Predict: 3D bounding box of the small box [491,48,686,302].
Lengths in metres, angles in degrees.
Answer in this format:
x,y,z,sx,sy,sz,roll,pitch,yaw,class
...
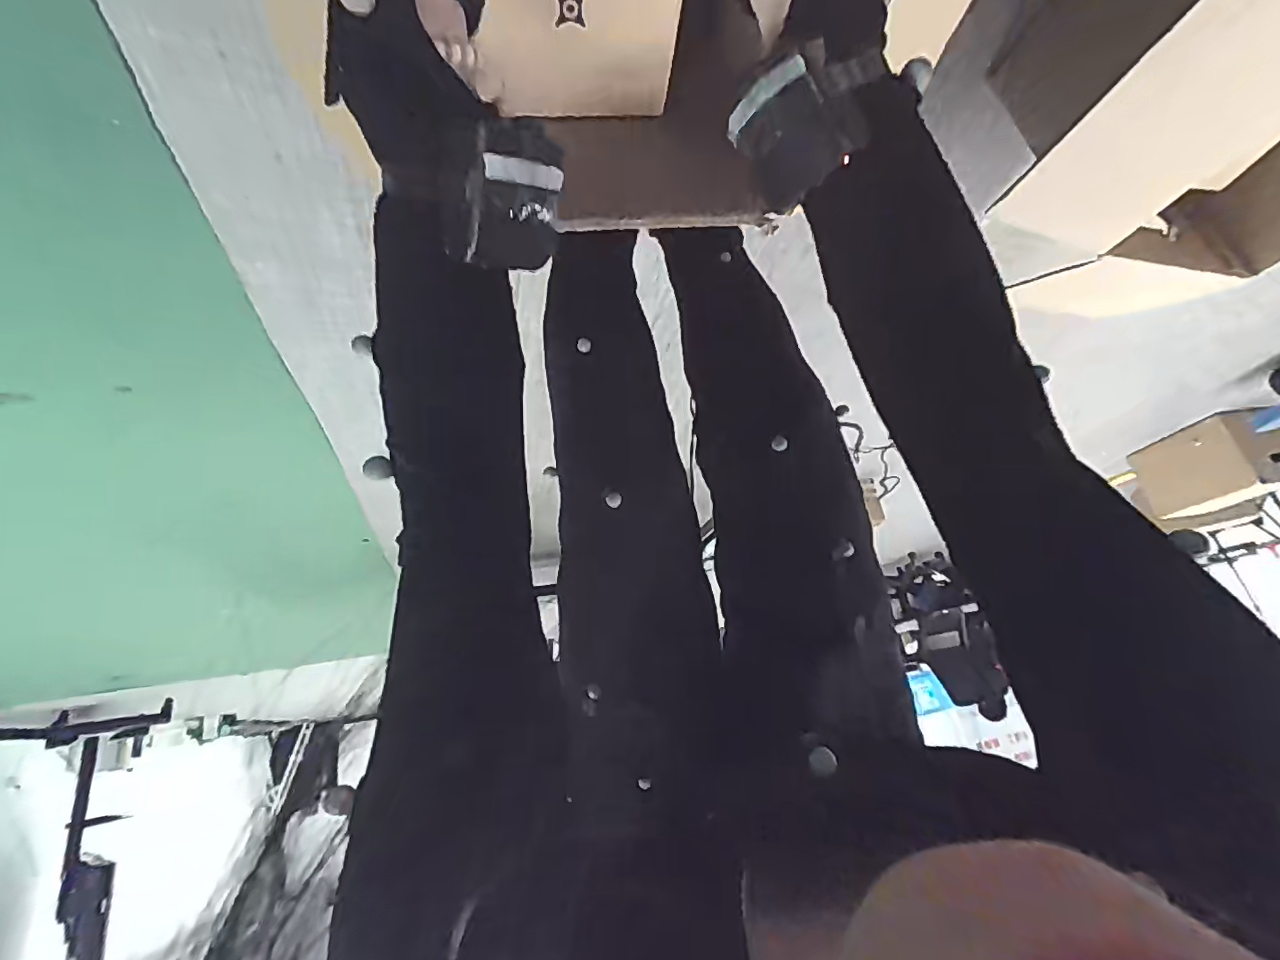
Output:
x,y,z,sx,sy,sz,roll,pitch,yaw,class
-0.068,-0.361,0.665,0.179,0.176,0.168,25,151,-20,small box
